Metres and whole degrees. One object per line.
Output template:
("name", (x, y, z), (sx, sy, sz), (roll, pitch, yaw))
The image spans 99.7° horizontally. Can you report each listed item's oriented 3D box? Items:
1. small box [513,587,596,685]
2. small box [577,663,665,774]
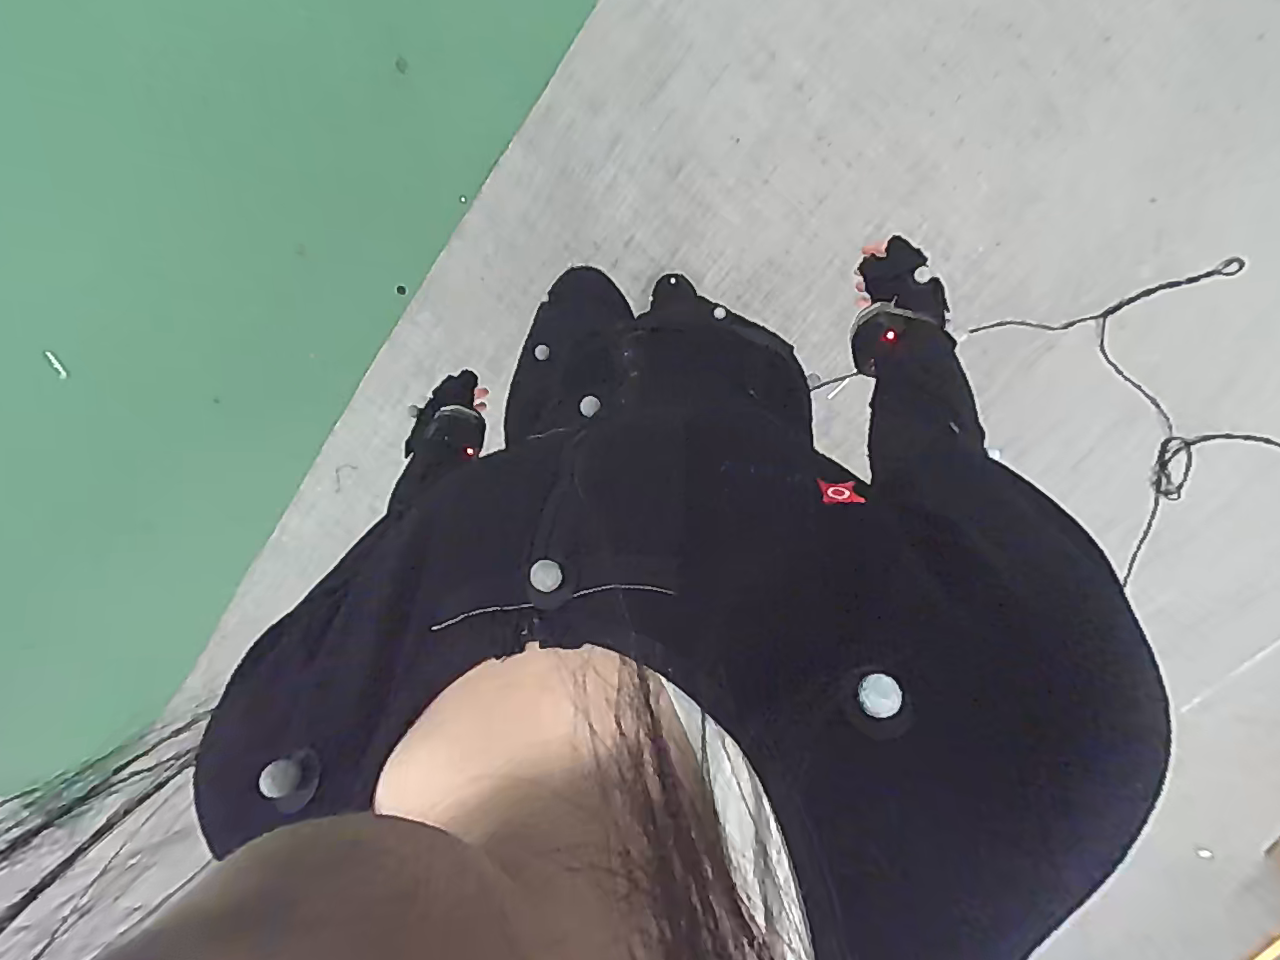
("small box", (-0.242, 0.452, 1.584), (0.168, 0.176, 0.179), (33, 106, -8))
("small box", (-0.044, 0.639, 1.463), (0.168, 0.176, 0.179), (37, 106, -11))
